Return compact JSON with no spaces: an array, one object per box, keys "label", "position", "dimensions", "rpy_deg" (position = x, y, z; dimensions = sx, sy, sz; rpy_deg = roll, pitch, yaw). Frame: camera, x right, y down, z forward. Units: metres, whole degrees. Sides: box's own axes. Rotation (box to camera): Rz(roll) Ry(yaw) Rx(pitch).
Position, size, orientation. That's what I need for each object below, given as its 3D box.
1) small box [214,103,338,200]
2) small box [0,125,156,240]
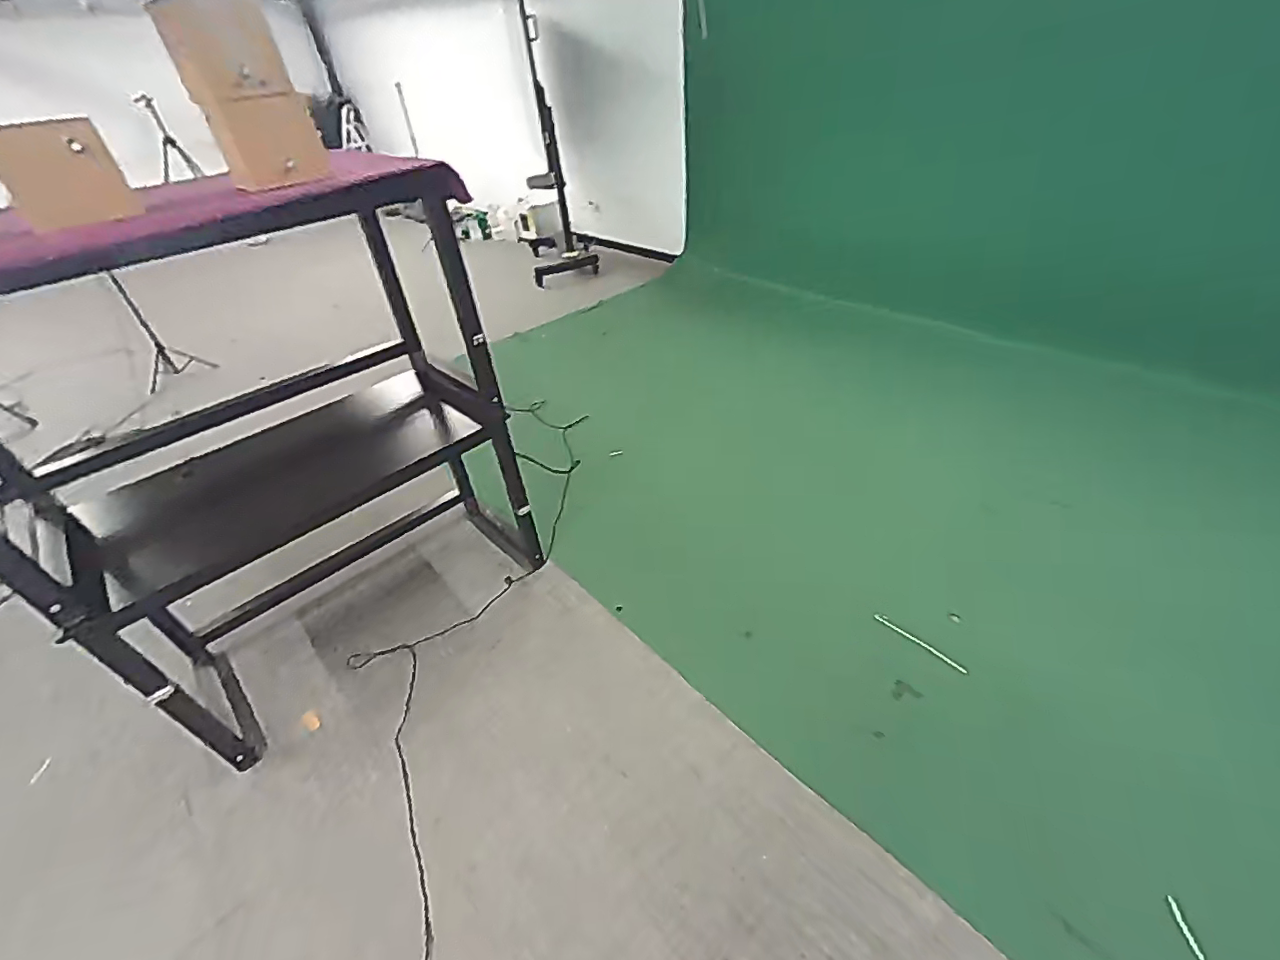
[{"label":"small box","position":[-0.835,-0.765,1.256],"dimensions":[0.179,0.176,0.168],"rpy_deg":[-33,44,-31]},{"label":"small box","position":[-1.104,-0.589,1.066],"dimensions":[0.179,0.176,0.168],"rpy_deg":[-33,45,-30]}]
